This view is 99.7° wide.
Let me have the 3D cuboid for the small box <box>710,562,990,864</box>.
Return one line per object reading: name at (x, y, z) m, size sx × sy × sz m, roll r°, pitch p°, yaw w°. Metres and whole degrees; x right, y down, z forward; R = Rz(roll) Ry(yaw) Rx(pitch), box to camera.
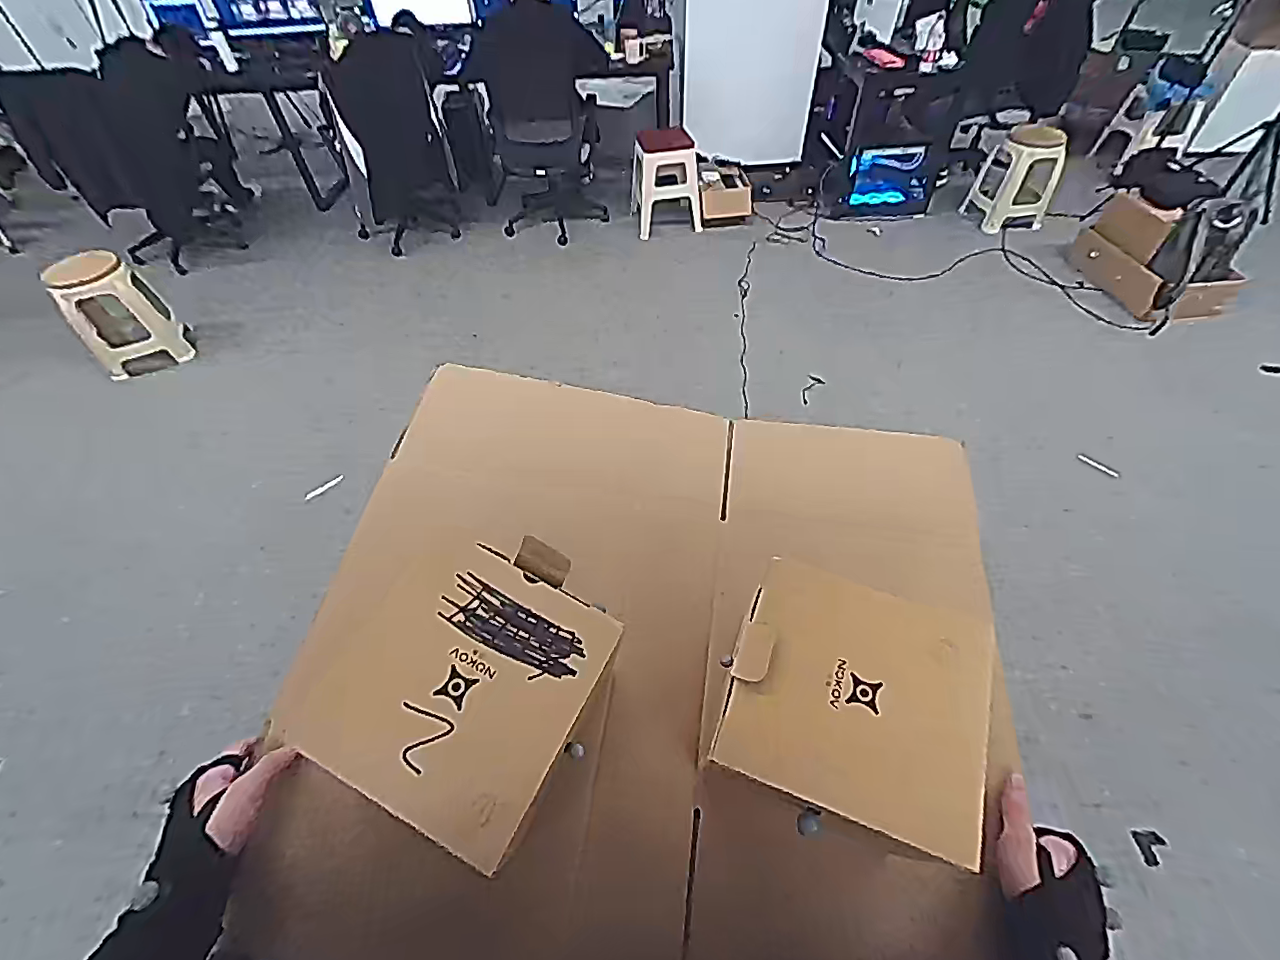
small box at (0.168, 0.198, 0.473) m, size 0.179 × 0.176 × 0.168 m, roll 16°, pitch 62°, yaw 14°
